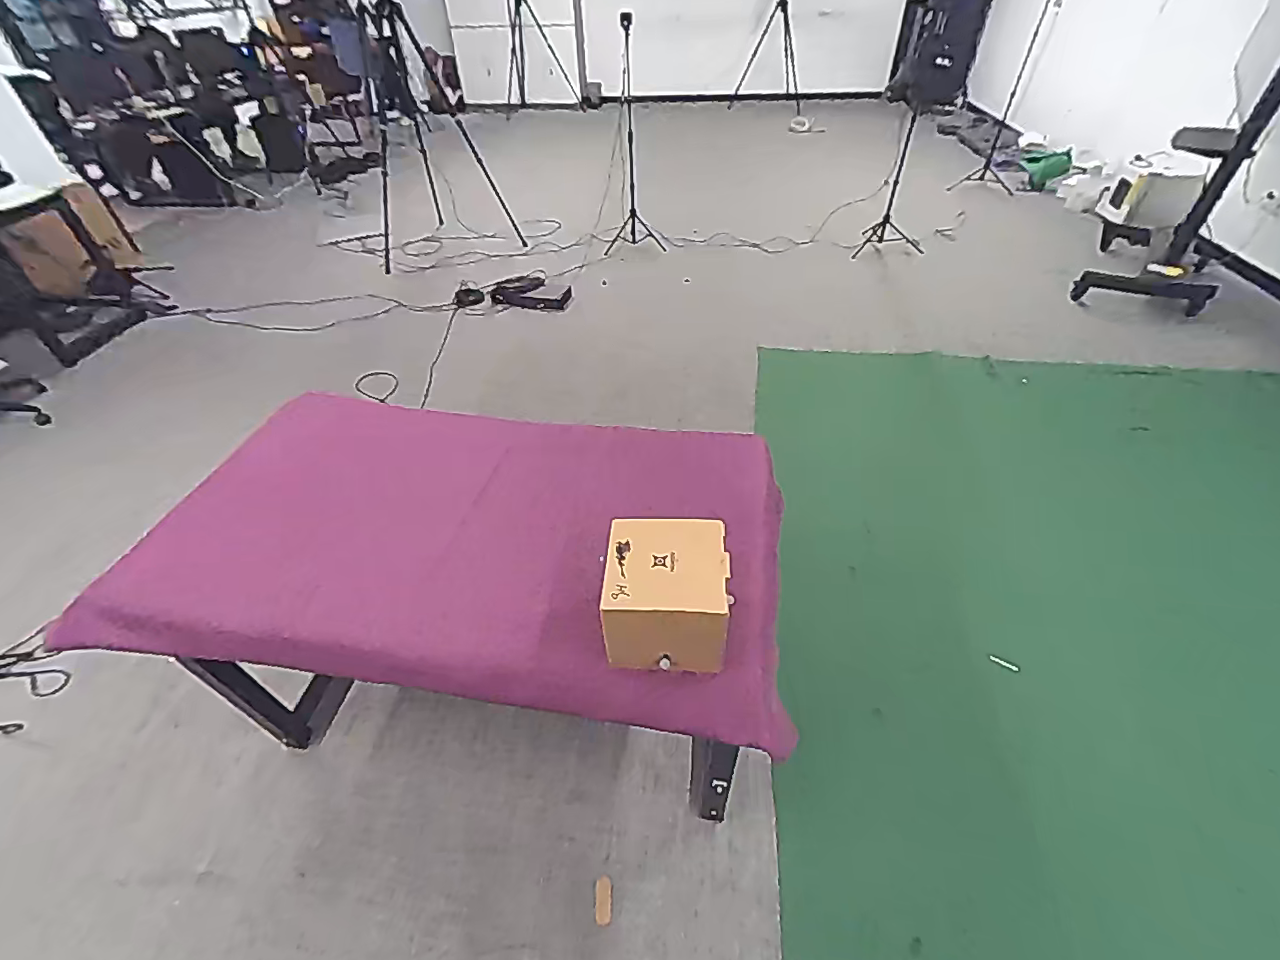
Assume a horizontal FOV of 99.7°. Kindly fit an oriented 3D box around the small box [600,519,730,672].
[{"bbox_3d":[0.042,0.180,0.832,0.179,0.176,0.168,1,44,5],"label":"small box"}]
